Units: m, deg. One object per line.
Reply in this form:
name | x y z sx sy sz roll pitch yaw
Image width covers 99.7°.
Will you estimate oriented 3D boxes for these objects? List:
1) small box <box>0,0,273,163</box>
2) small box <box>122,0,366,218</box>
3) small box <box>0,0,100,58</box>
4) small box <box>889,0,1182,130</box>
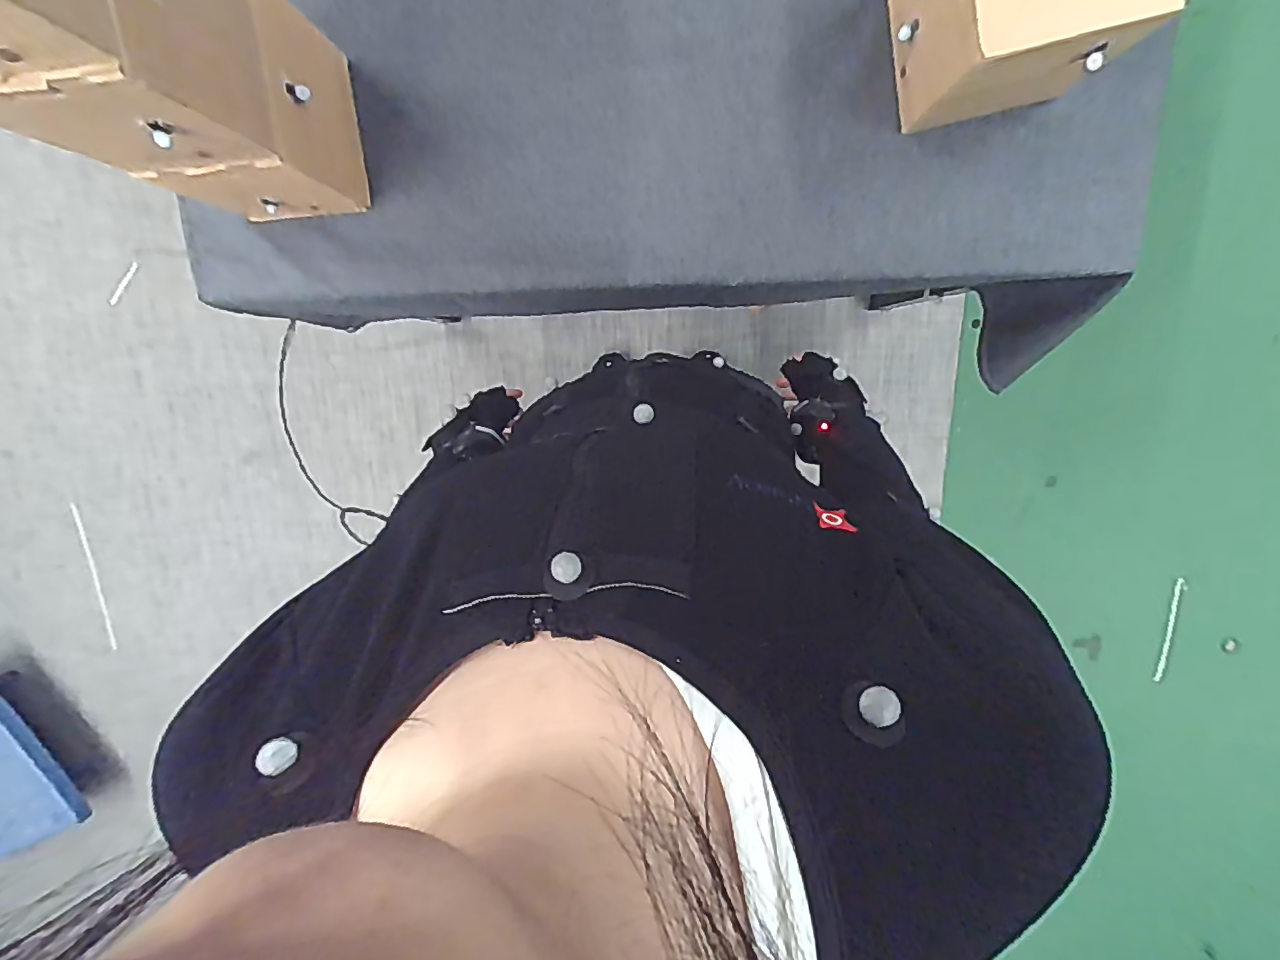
small box | -0.441 -0.378 0.440 0.168 0.176 0.179 -3 102 2
small box | -0.436 -0.410 0.600 0.168 0.176 0.179 -3 103 3
small box | -0.448 -0.350 0.279 0.168 0.176 0.179 -4 102 2
small box | 0.374 -0.485 0.537 0.179 0.176 0.168 -11 101 6
